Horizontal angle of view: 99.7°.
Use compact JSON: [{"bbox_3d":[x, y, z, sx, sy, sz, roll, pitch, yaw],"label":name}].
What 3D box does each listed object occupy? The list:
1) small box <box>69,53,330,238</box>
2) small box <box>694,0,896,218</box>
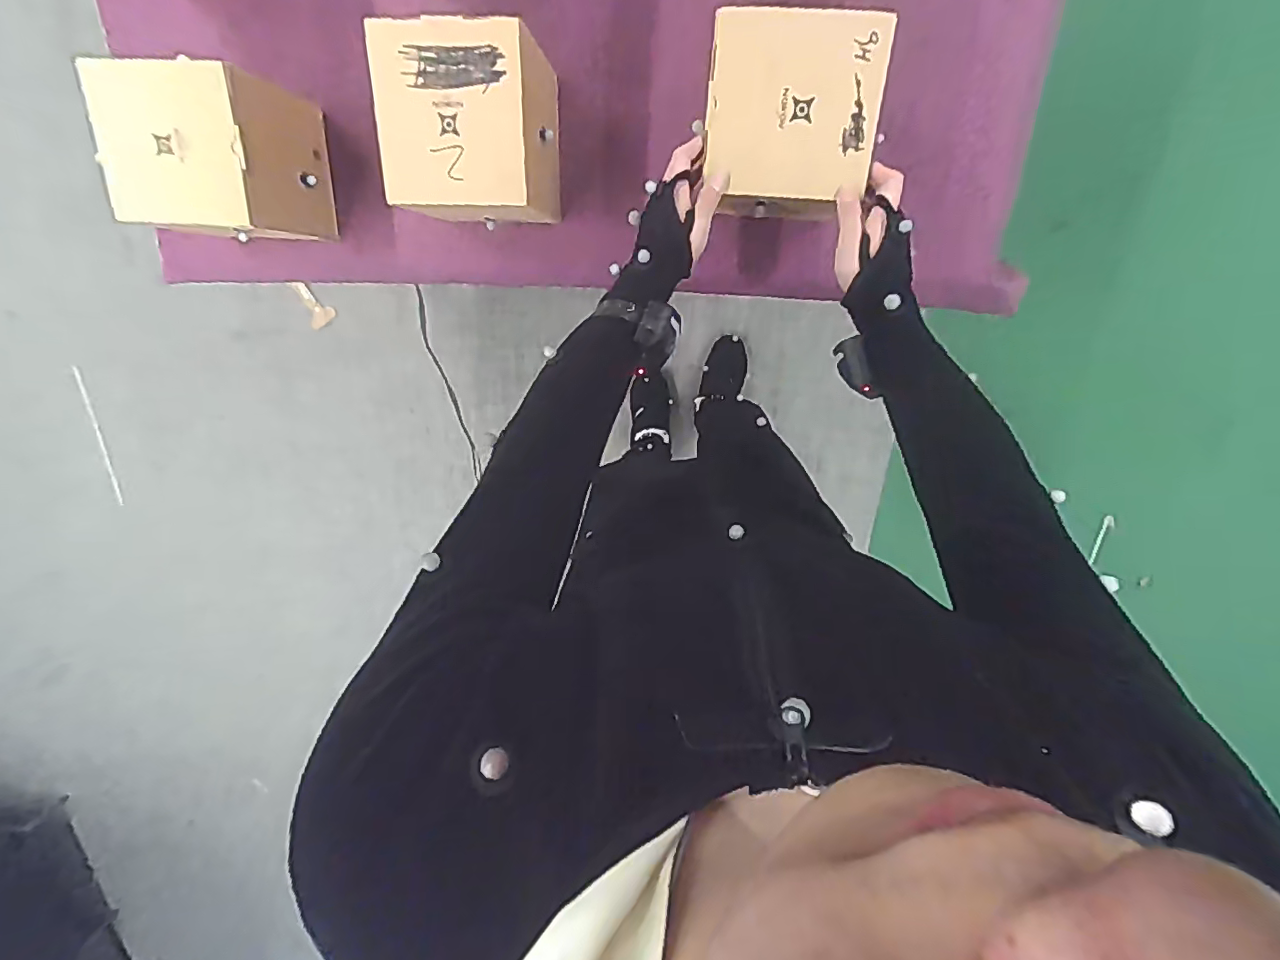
[{"bbox_3d":[-0.533,-0.405,0.682,0.179,0.176,0.168,4,109,3],"label":"small box"},{"bbox_3d":[0.158,-0.401,0.614,0.179,0.176,0.168,6,110,4],"label":"small box"}]
